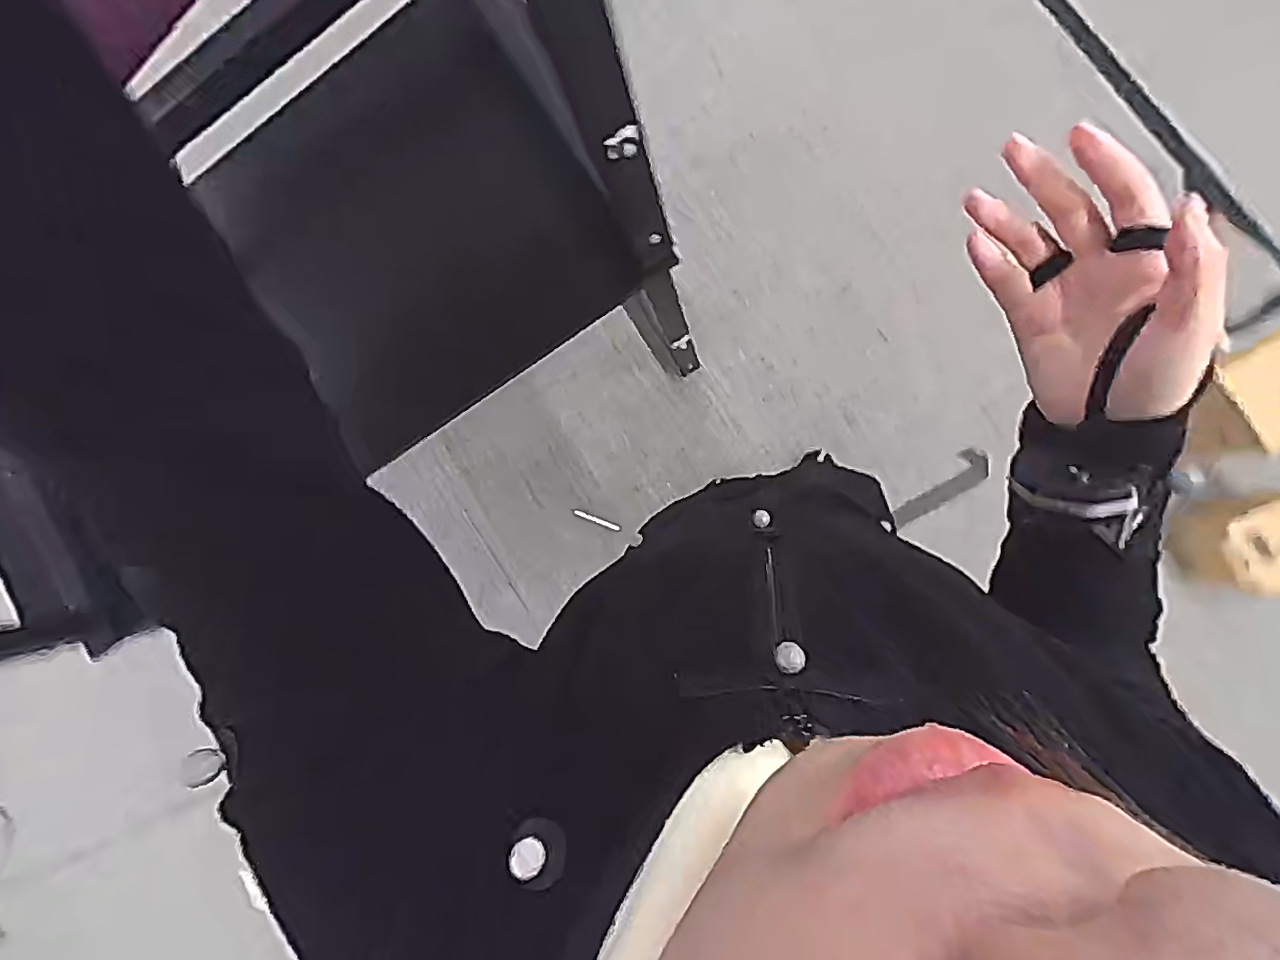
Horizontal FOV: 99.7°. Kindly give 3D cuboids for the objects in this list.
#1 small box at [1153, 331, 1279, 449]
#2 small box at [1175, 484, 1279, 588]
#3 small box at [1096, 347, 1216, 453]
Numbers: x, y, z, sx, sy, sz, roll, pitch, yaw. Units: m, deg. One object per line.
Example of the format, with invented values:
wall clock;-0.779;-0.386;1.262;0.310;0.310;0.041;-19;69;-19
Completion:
small box;1.198;-0.173;1.067;0.168;0.176;0.179;-32;84;7
small box;1.364;0.120;1.204;0.179;0.176;0.168;-28;85;7
small box;1.209;-0.174;1.231;0.168;0.176;0.179;-28;86;8
